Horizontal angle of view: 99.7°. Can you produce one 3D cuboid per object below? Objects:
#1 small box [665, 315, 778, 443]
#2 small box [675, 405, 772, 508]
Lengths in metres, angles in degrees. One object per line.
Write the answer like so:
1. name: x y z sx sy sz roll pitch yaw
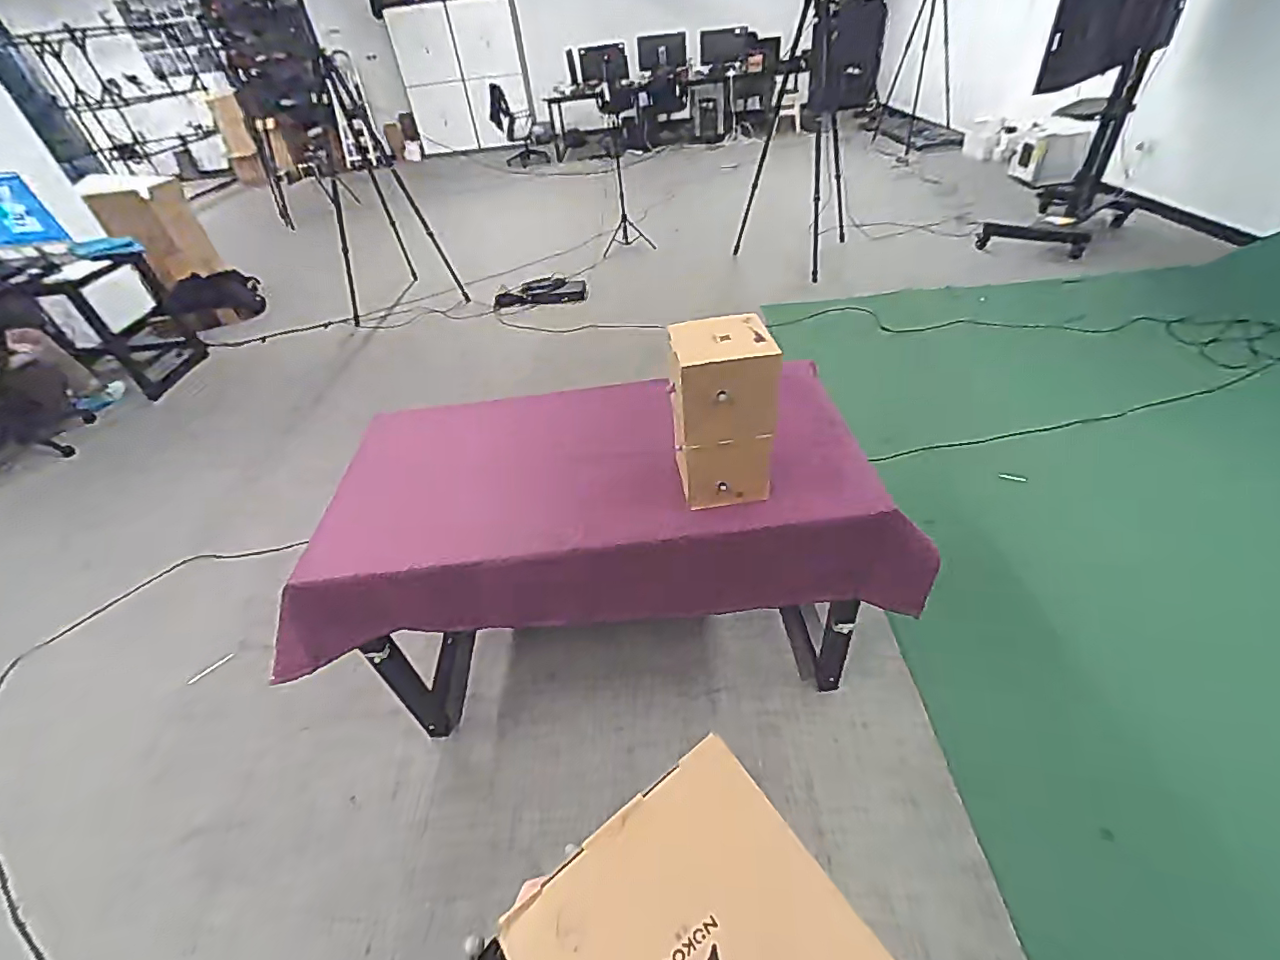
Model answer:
1. small box: 0.151 -0.187 1.020 0.179 0.176 0.168 -9 41 0
2. small box: 0.167 -0.065 1.129 0.168 0.176 0.179 -9 41 -1
